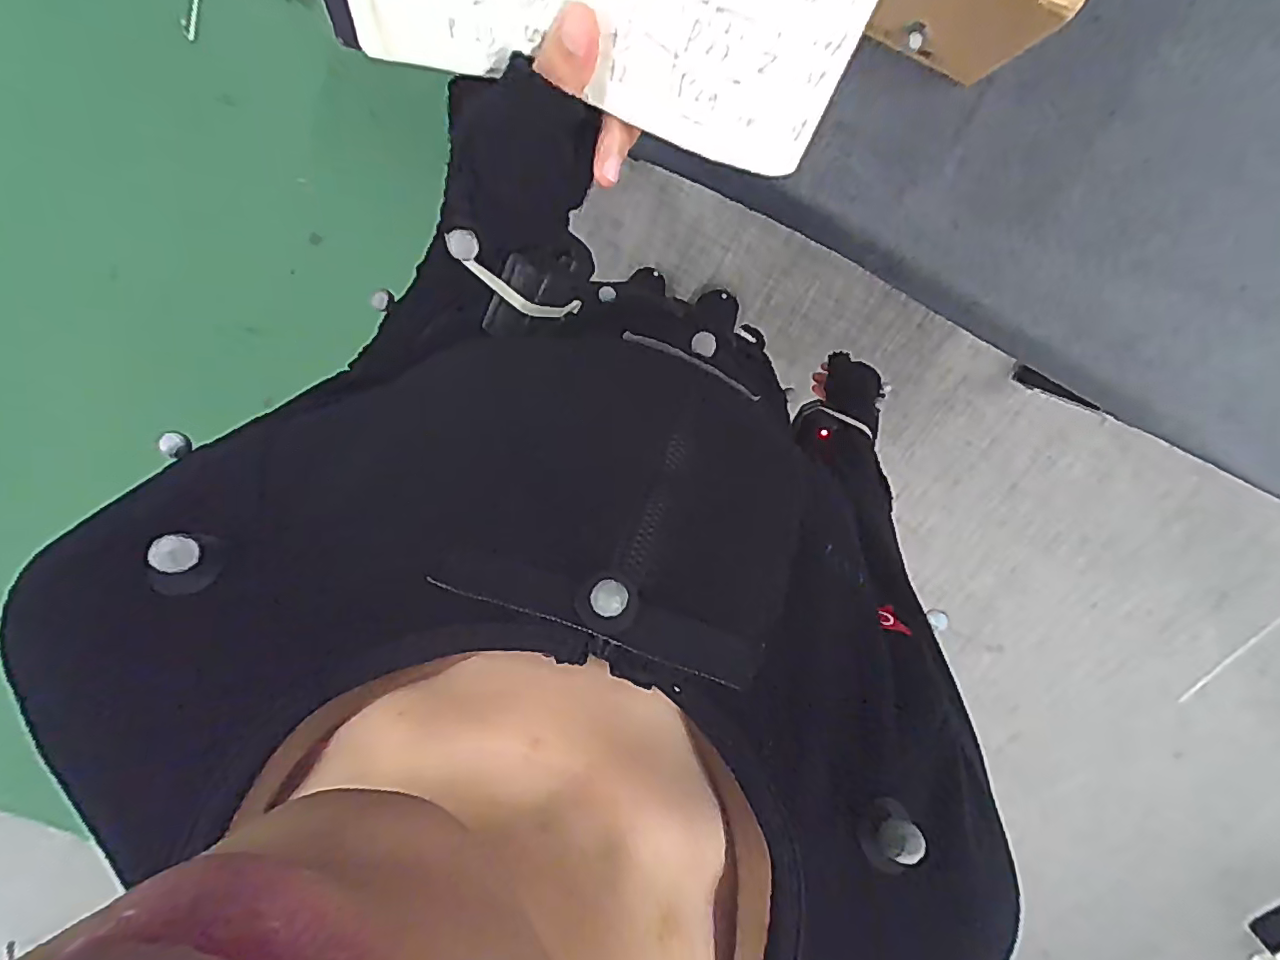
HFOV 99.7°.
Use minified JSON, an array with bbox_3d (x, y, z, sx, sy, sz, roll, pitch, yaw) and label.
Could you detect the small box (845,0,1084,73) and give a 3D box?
[{"bbox_3d":[0.294,-0.486,0.441,0.168,0.176,0.179,23,112,-4],"label":"small box"}]
